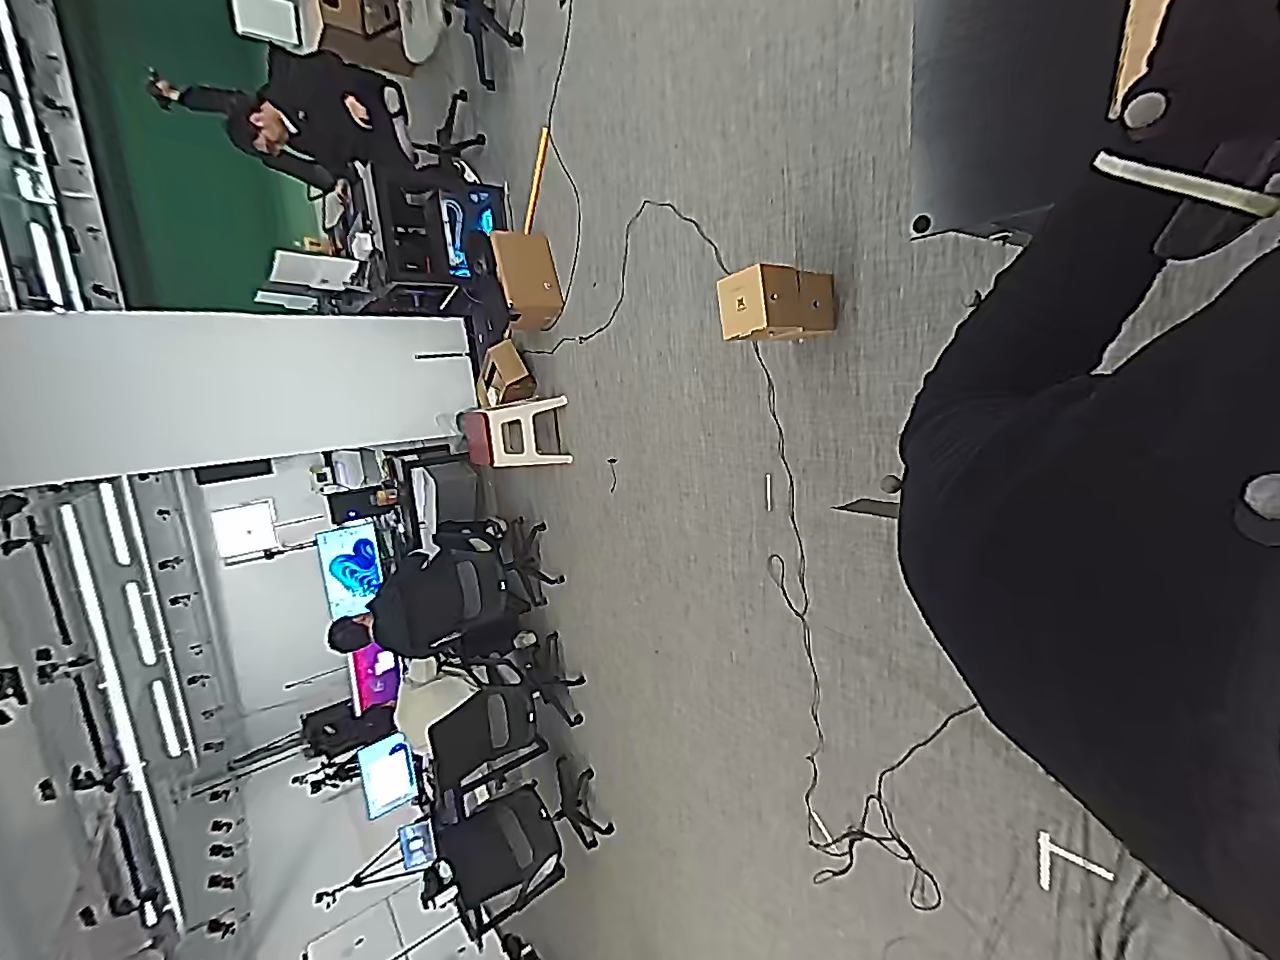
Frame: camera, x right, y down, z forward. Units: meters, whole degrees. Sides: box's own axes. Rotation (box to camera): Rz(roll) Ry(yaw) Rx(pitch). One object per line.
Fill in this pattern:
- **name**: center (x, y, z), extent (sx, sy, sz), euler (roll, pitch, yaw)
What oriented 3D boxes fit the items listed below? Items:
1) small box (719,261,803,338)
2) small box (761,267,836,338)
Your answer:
- **small box**: center (0.356, -0.519, 1.571), extent (0.168, 0.176, 0.179), euler (-1, 98, 53)
- **small box**: center (0.485, -0.541, 1.667), extent (0.168, 0.176, 0.179), euler (3, 103, 53)
